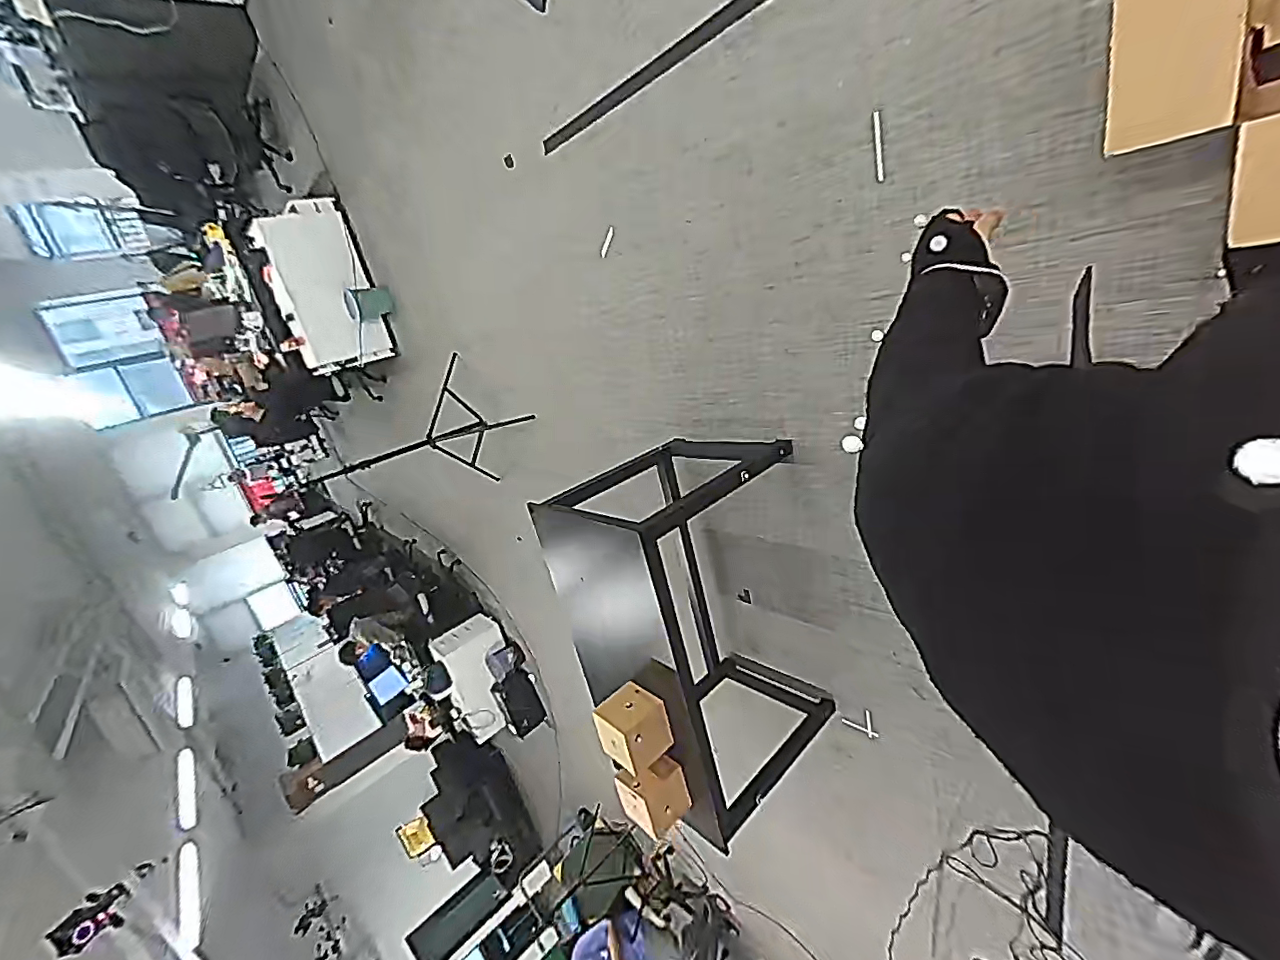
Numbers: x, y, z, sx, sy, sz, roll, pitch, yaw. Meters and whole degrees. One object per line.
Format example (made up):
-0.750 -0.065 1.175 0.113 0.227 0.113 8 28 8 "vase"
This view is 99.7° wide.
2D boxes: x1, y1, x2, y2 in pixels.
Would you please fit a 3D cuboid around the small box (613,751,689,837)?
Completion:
0.041 1.030 1.810 0.168 0.176 0.179 5 117 50 "small box"

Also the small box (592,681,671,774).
-0.024 0.779 1.724 0.168 0.176 0.179 11 121 49 "small box"
